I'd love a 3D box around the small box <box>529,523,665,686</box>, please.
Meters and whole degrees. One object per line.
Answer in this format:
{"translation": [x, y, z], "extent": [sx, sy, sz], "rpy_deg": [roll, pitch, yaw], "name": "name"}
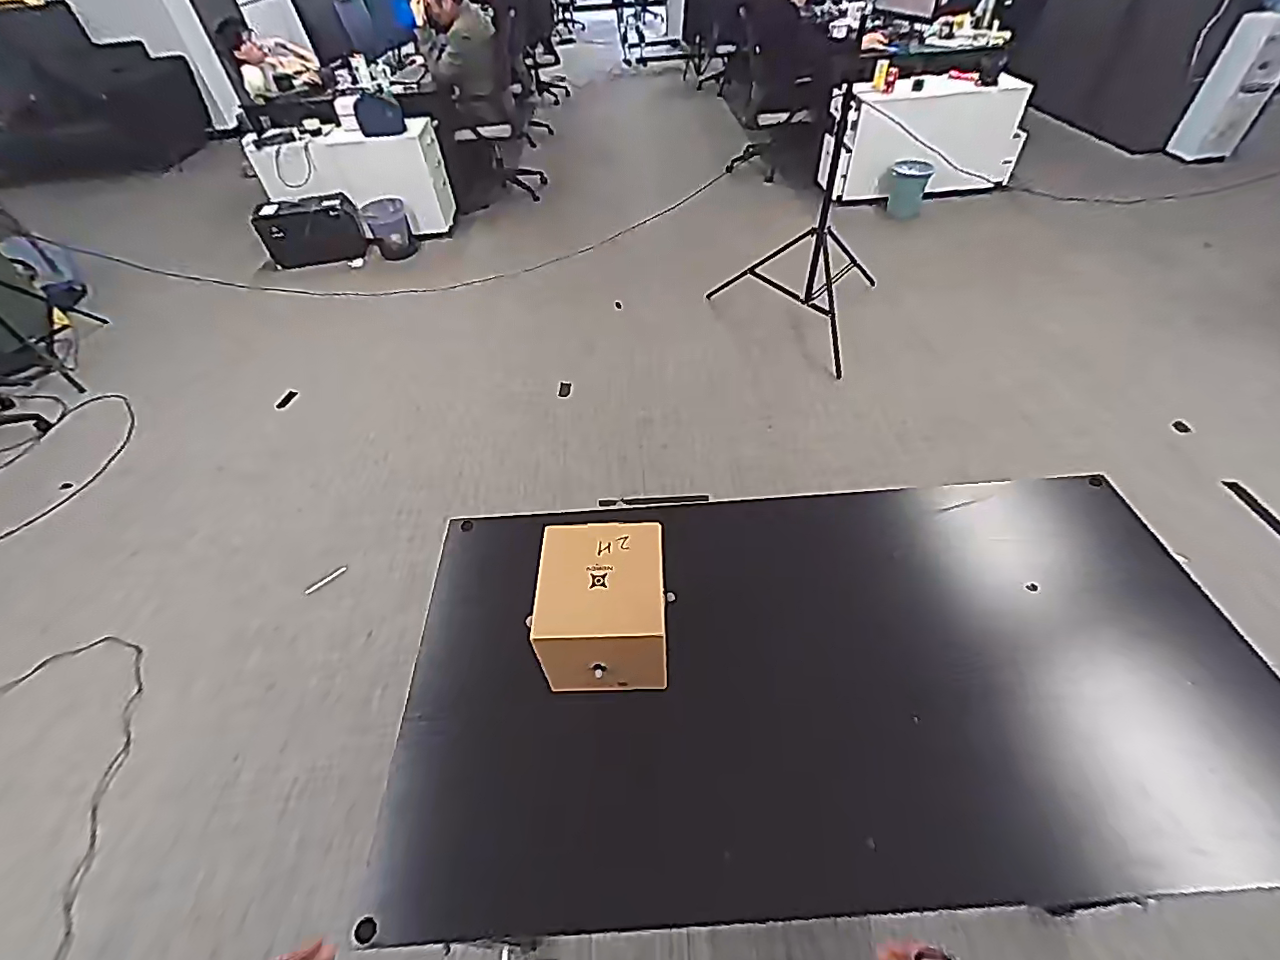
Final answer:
{"translation": [-0.050, 0.183, 0.773], "extent": [0.168, 0.176, 0.179], "rpy_deg": [-3, 47, 2], "name": "small box"}
